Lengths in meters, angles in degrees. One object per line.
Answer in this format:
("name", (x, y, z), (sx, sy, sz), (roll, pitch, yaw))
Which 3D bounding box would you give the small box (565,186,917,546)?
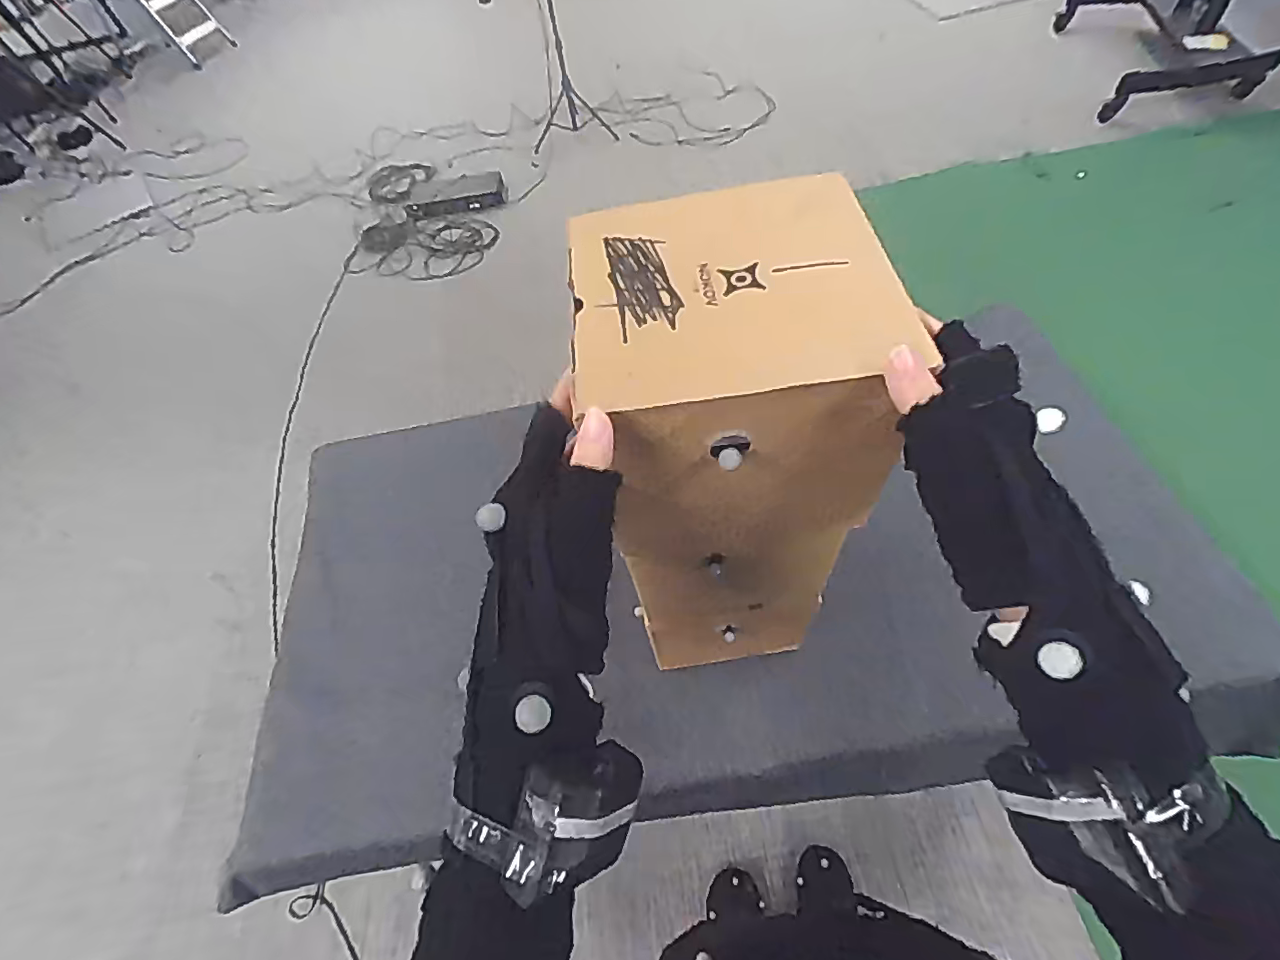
("small box", (0.053, -0.066, 0.374), (0.179, 0.176, 0.168), (-7, 58, 3))

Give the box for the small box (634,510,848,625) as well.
("small box", (0.072, 0.019, 0.518), (0.168, 0.176, 0.179), (-10, 59, 0))

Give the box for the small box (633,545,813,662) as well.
("small box", (0.089, 0.108, 0.650), (0.179, 0.176, 0.168), (-9, 57, 1))
